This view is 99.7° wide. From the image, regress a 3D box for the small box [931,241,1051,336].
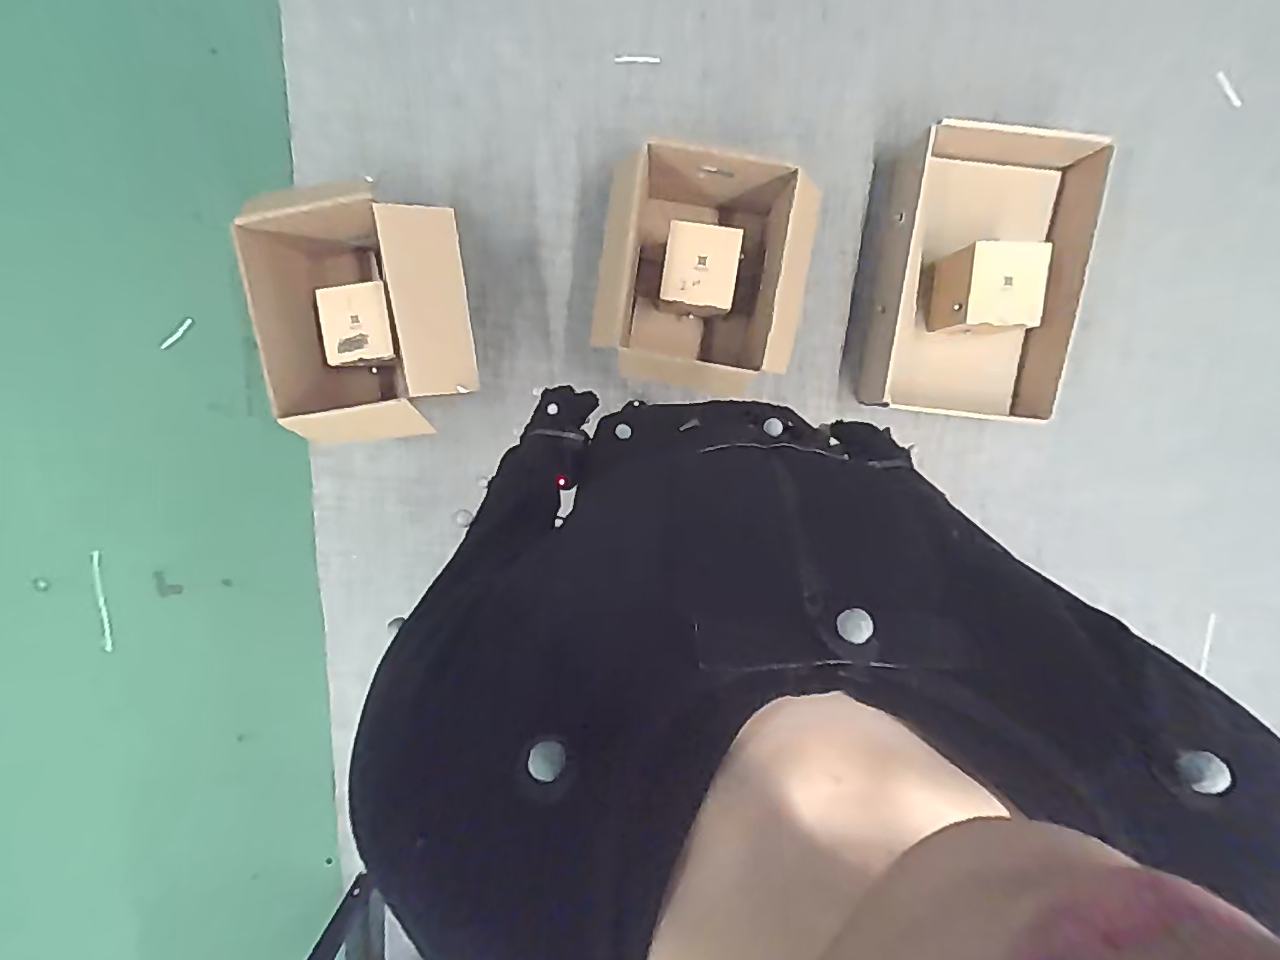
[{"bbox_3d":[0.800,-0.436,1.252,0.168,0.176,0.179,2,99,1],"label":"small box"}]
